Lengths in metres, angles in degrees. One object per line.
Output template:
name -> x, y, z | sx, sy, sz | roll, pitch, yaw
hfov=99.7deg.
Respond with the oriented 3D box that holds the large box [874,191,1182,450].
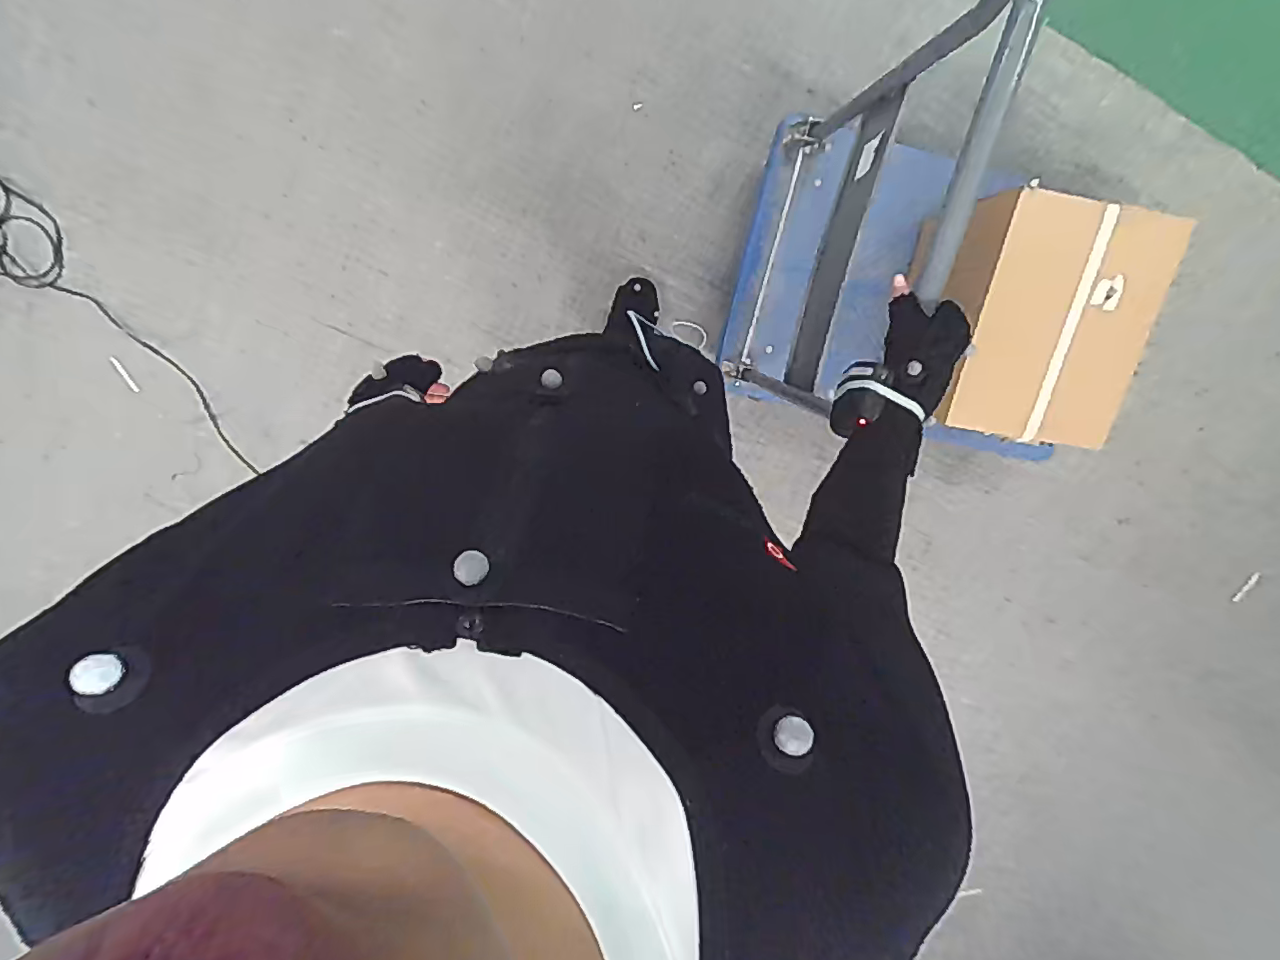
large box -> 0.728, -0.303, 1.091 | 0.320, 0.320, 0.408 | 9, 105, -5
